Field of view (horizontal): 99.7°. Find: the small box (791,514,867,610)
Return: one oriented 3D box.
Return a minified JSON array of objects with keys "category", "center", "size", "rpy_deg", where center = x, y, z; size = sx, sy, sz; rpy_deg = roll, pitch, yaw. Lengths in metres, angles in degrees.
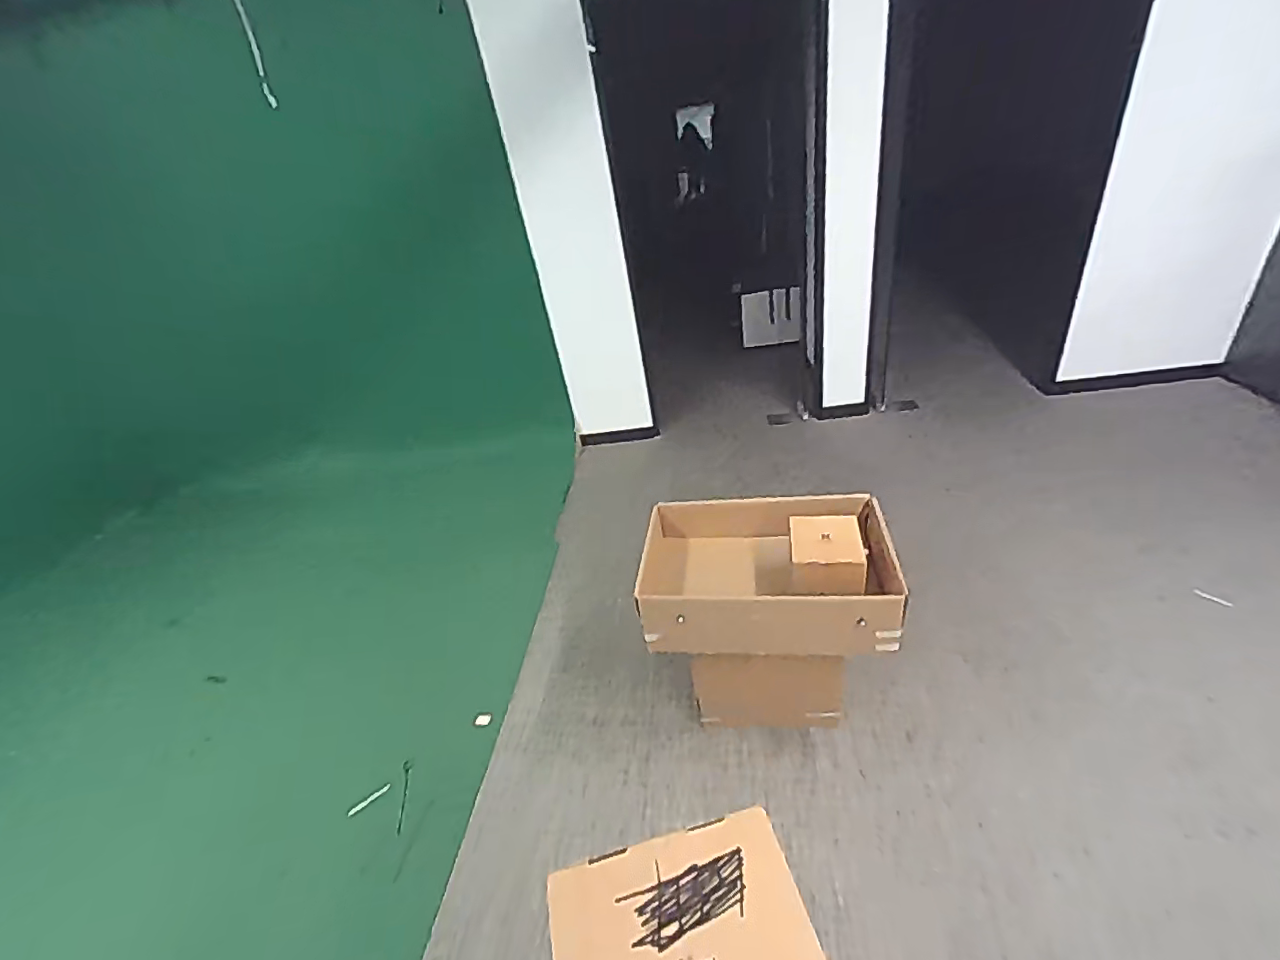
[{"category":"small box","center":[0.469,0.205,1.362],"size":[0.168,0.176,0.179],"rpy_deg":[-3,34,14]}]

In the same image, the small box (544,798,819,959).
[{"category":"small box","center":[0.036,0.368,0.378],"size":[0.168,0.176,0.179],"rpy_deg":[-14,38,-7]}]
